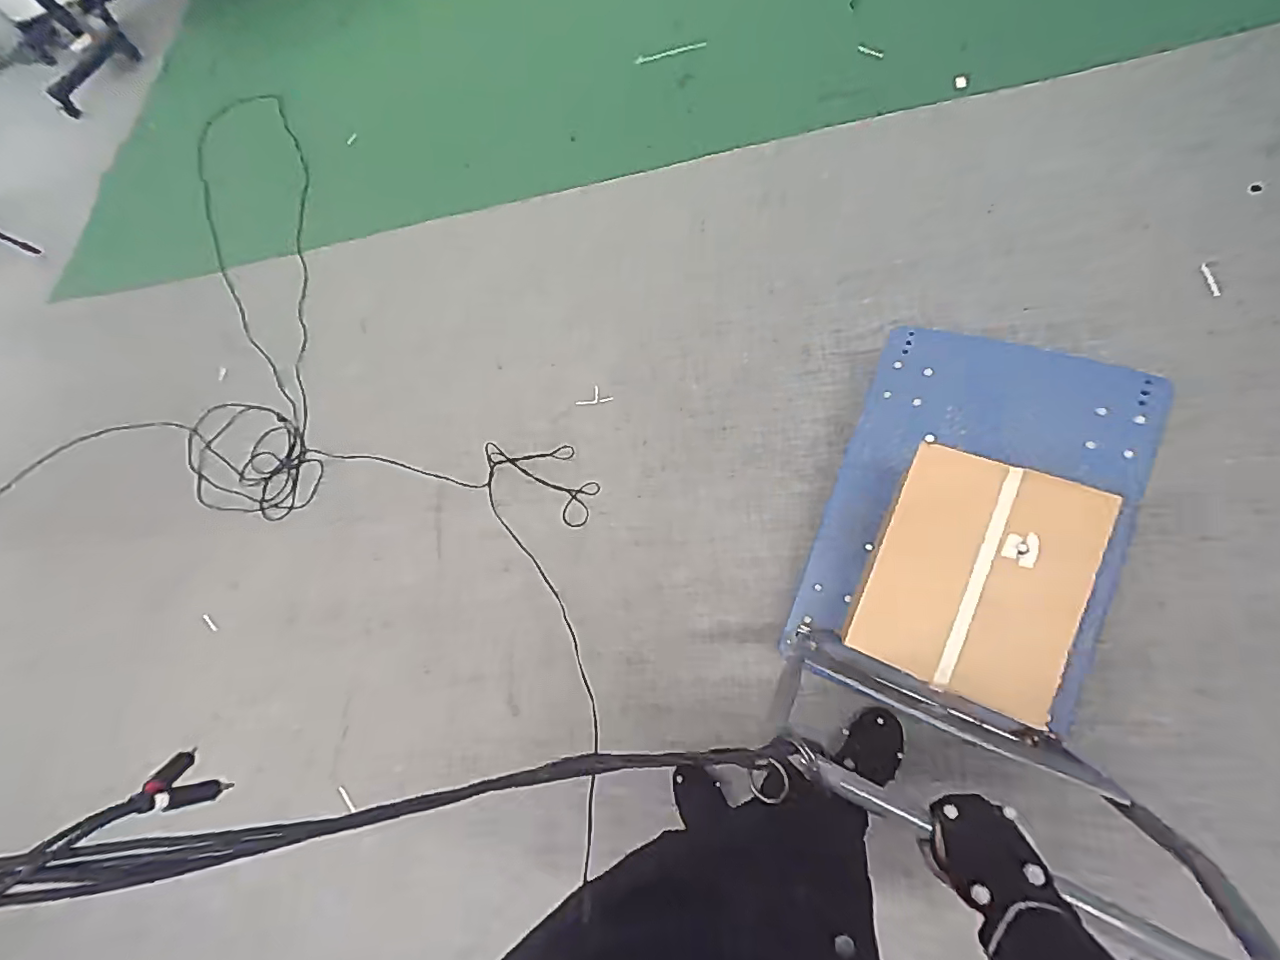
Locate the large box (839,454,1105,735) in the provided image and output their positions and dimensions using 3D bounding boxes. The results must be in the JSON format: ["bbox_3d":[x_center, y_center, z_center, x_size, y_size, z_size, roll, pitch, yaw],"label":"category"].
[{"bbox_3d":[0.616,0.217,1.075,0.320,0.320,0.408,22,84,22],"label":"large box"}]
